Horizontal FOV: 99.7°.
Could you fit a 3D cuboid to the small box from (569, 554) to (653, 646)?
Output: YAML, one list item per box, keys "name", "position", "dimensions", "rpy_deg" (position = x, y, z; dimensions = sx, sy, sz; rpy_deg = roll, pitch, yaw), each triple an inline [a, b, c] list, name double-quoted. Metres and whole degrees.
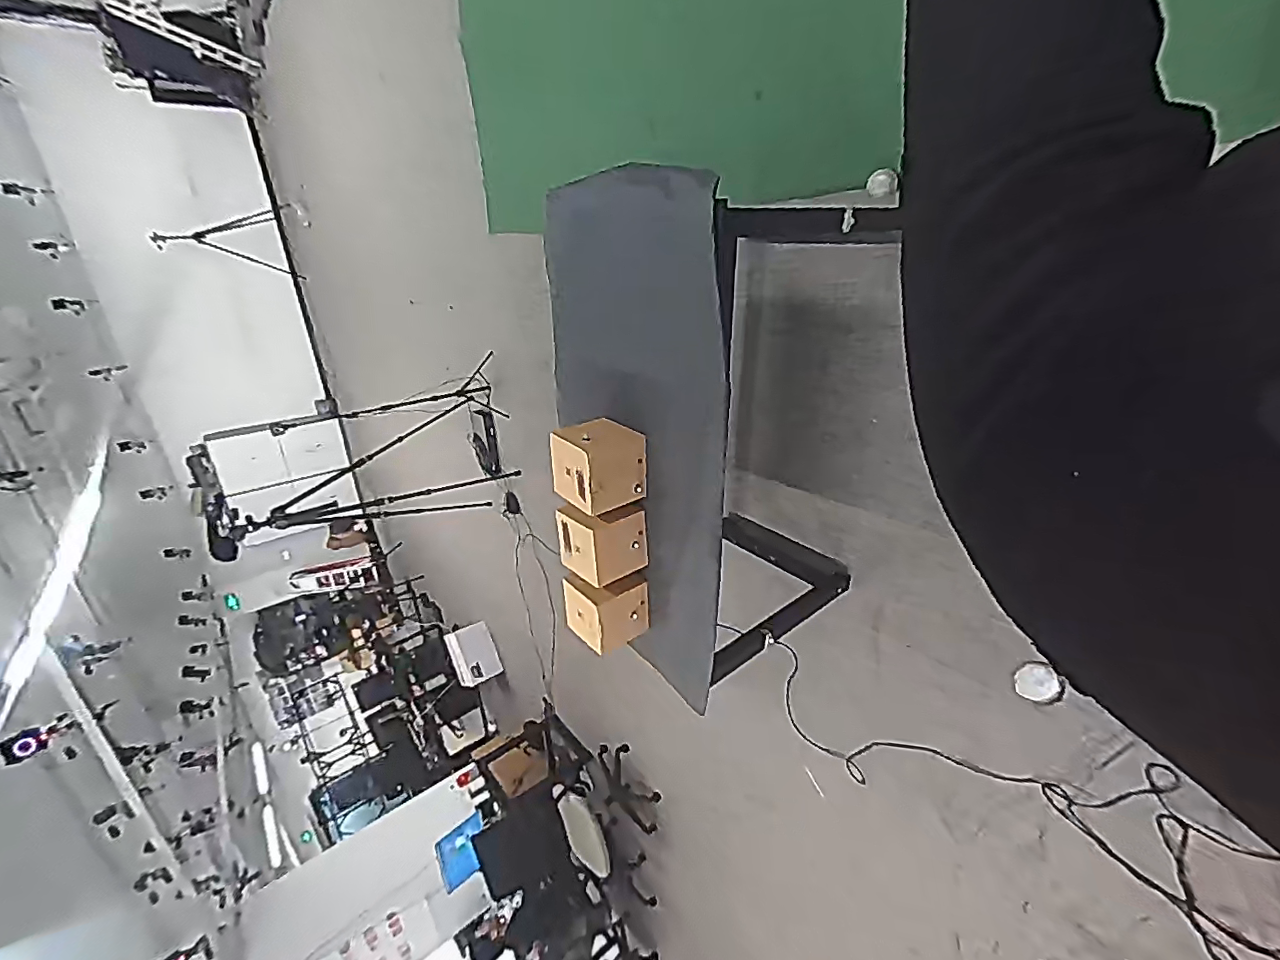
- name: "small box"
  position: [-0.080, 0.327, 1.524]
  dimensions: [0.179, 0.176, 0.168]
  rpy_deg: [25, 126, 46]
